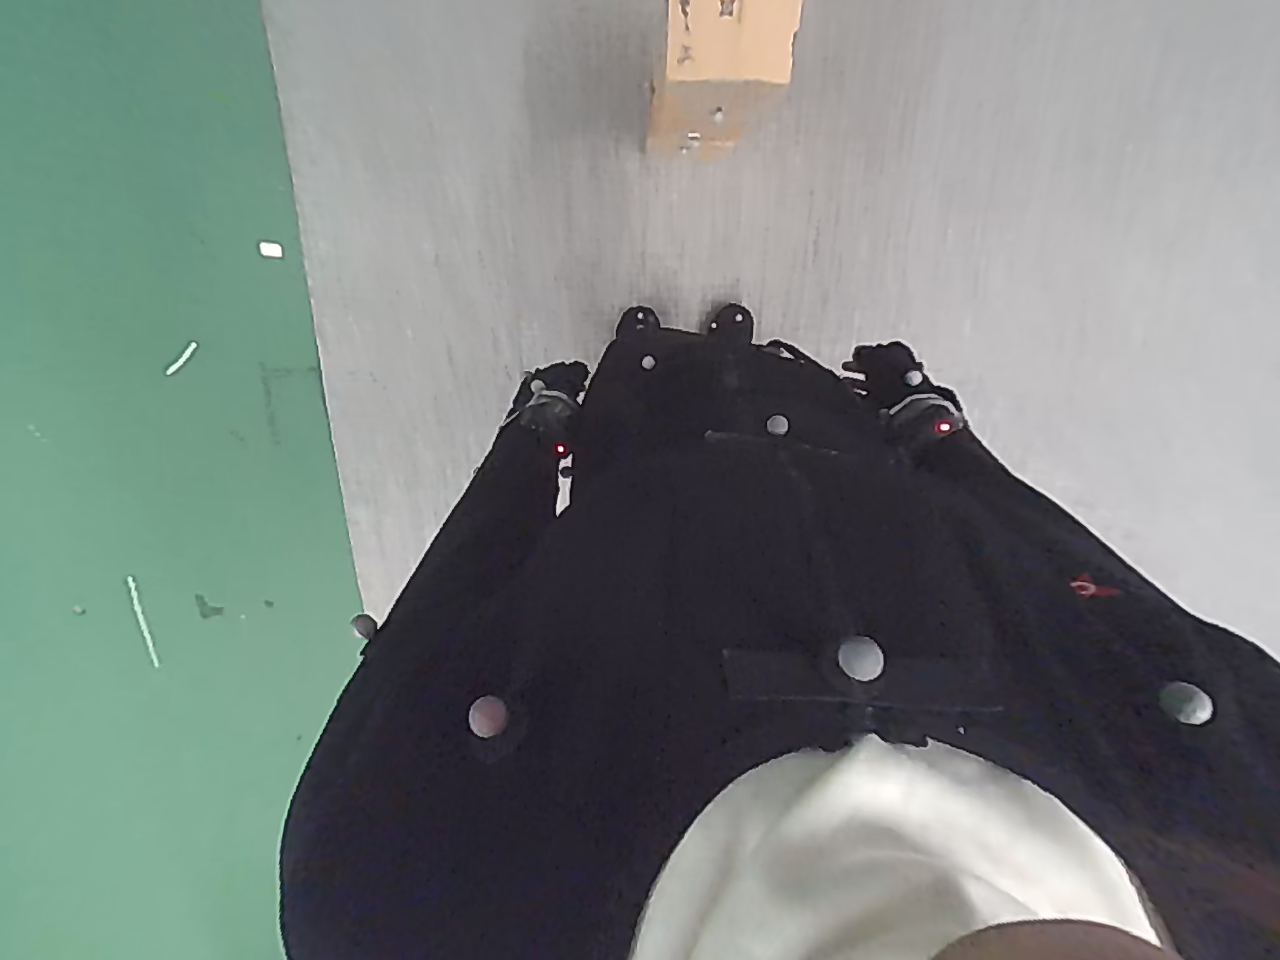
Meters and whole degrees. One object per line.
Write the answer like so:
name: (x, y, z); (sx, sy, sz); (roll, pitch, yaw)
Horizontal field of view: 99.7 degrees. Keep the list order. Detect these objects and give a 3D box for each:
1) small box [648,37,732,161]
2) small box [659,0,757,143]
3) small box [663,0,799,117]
small box: (0.109, -0.770, 1.111); (0.179, 0.176, 0.168); (4, 110, -2)
small box: (0.121, -0.721, 0.958); (0.168, 0.176, 0.179); (3, 110, 1)
small box: (0.128, -0.661, 0.805); (0.179, 0.176, 0.168); (2, 109, 0)
